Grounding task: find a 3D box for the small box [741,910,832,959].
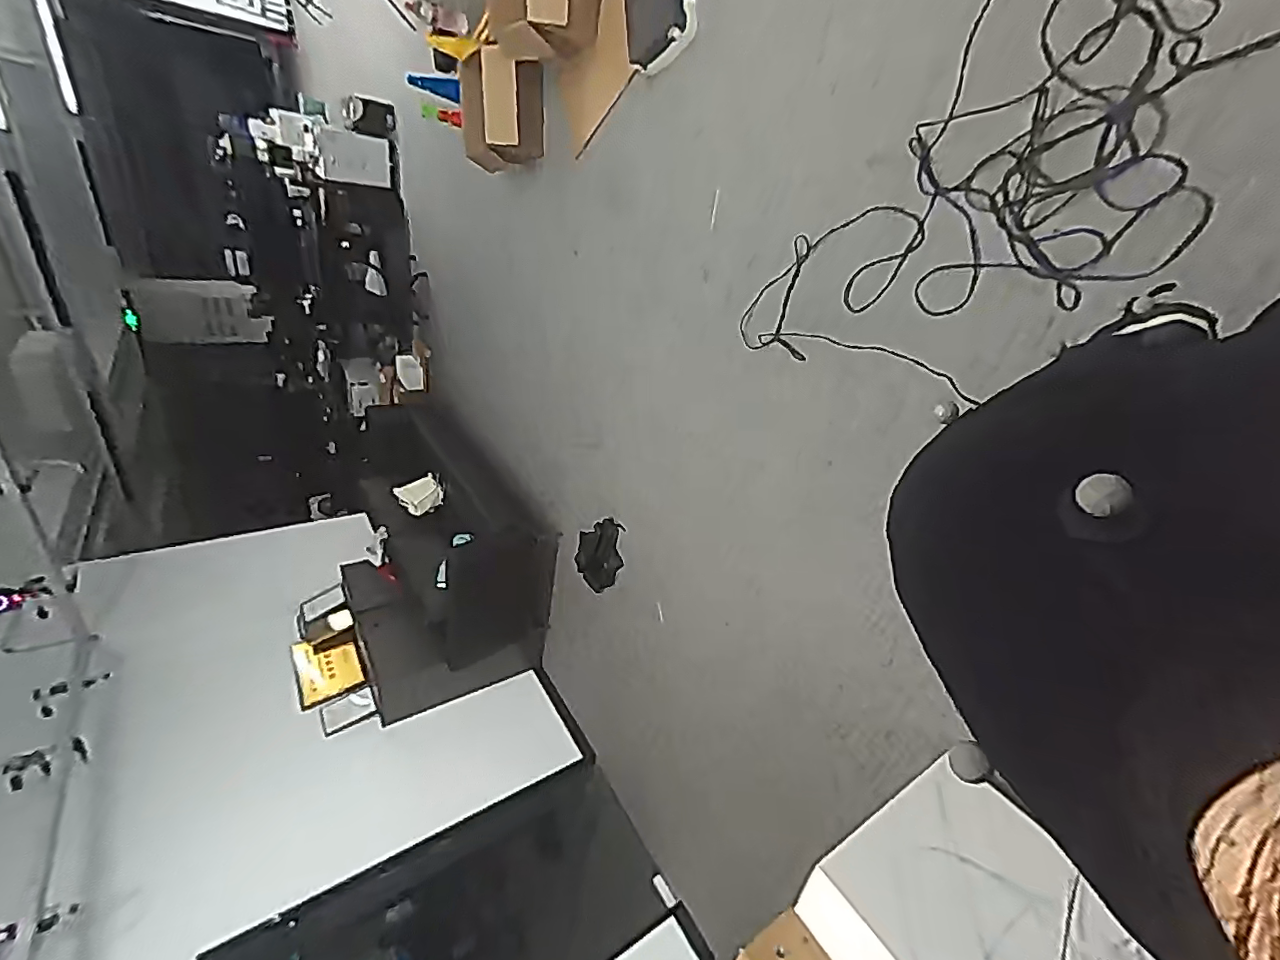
[{"bbox_3d":[0.317,1.086,1.165,0.168,0.176,0.179,42,133,42],"label":"small box"}]
